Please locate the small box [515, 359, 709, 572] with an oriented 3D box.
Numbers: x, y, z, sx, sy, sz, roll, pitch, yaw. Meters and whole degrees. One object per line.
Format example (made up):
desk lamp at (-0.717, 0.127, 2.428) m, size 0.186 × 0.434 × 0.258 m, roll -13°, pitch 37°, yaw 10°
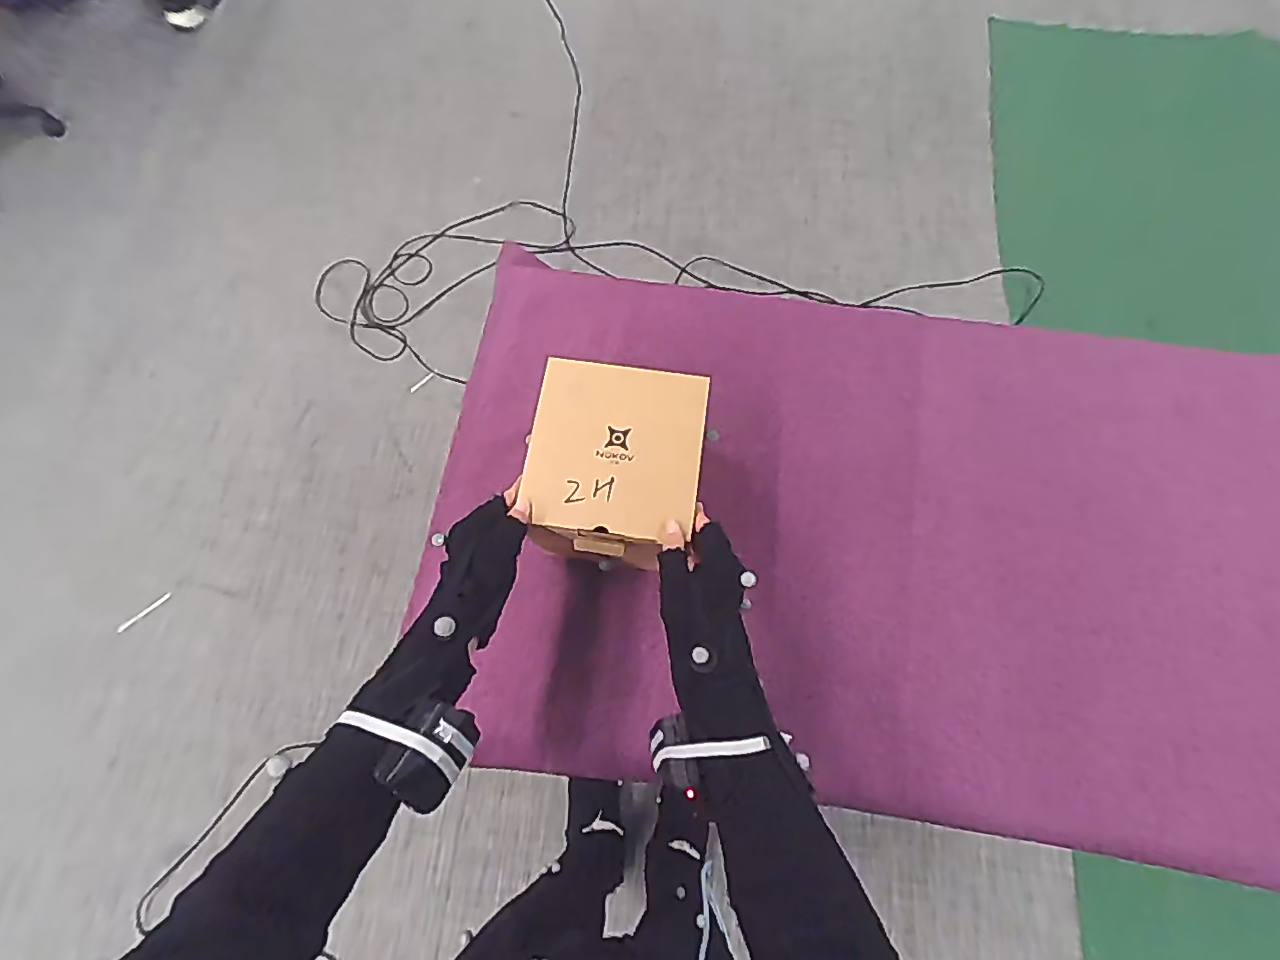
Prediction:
small box at (-0.023, -0.007, 0.596) m, size 0.168 × 0.176 × 0.179 m, roll 8°, pitch 72°, yaw 4°
